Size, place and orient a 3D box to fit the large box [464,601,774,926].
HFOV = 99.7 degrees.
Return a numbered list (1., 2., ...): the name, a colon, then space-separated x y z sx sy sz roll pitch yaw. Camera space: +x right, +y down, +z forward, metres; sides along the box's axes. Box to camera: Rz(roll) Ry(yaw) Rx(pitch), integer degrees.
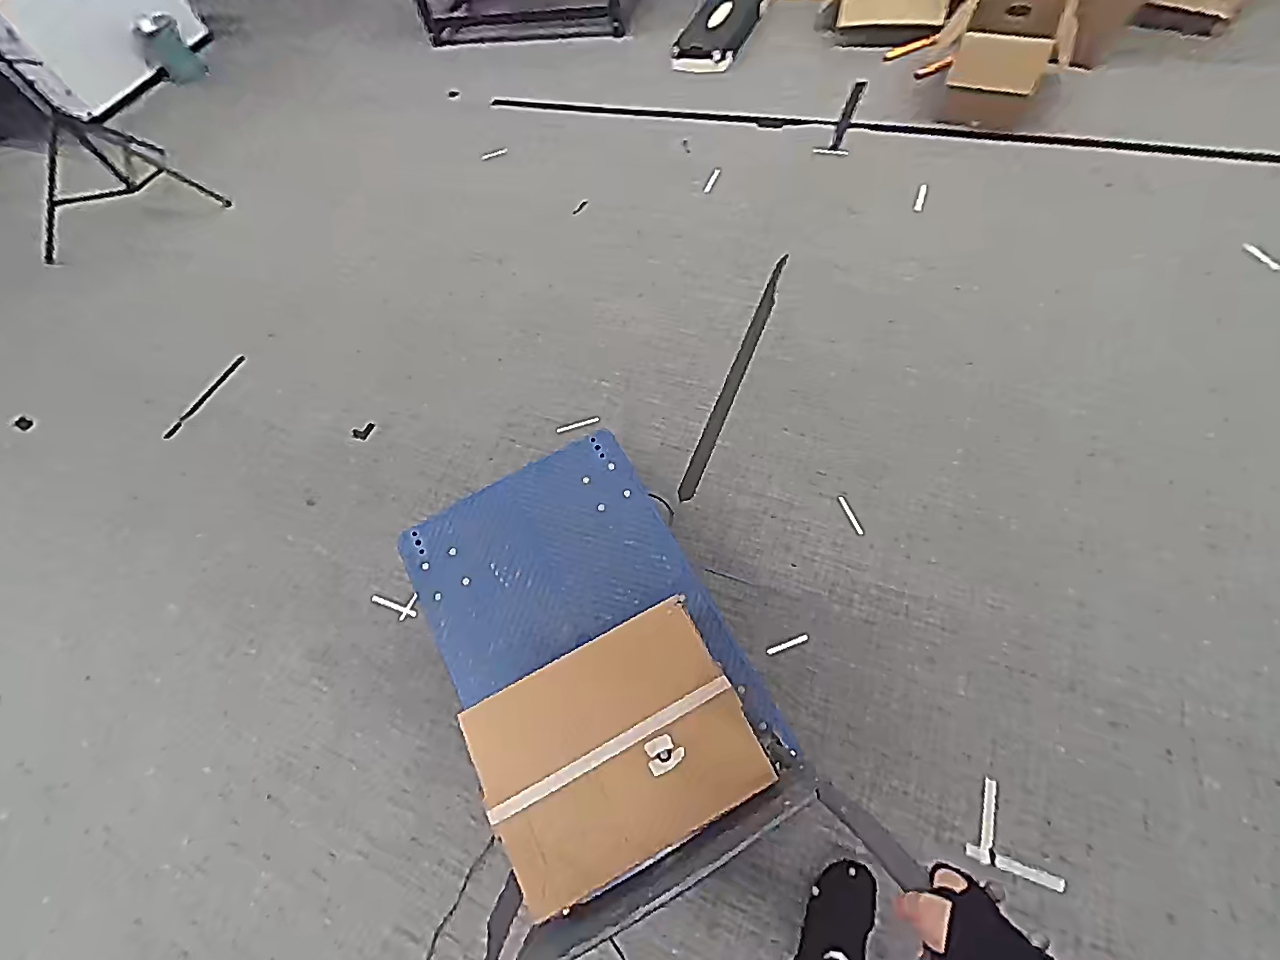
1. large box: -0.033 0.472 0.977 0.408 0.320 0.320 -28 71 -8
